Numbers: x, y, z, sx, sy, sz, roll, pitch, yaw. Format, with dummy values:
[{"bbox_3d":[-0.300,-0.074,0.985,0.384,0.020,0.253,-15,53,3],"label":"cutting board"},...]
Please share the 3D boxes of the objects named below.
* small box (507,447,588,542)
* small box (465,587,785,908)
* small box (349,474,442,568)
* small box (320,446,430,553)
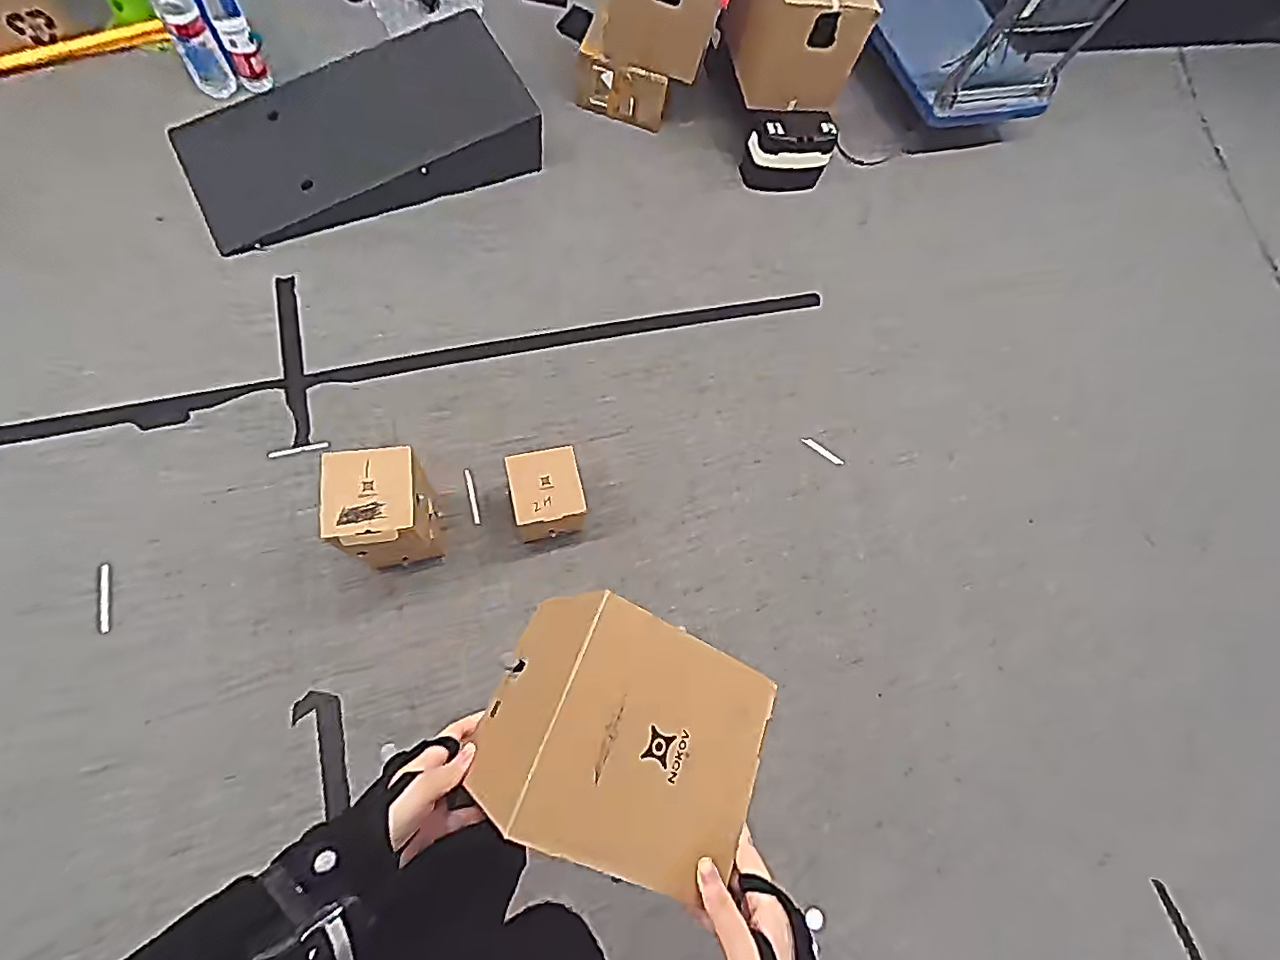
[{"bbox_3d":[-0.232,0.038,1.340,0.168,0.176,0.179,-10,73,-13],"label":"small box"},{"bbox_3d":[-0.017,0.204,0.450,0.179,0.176,0.168,33,63,-17],"label":"small box"},{"bbox_3d":[-0.565,0.098,1.259,0.179,0.176,0.168,-10,72,-15],"label":"small box"},{"bbox_3d":[-0.532,0.047,1.105,0.168,0.176,0.179,-6,71,-12],"label":"small box"}]
